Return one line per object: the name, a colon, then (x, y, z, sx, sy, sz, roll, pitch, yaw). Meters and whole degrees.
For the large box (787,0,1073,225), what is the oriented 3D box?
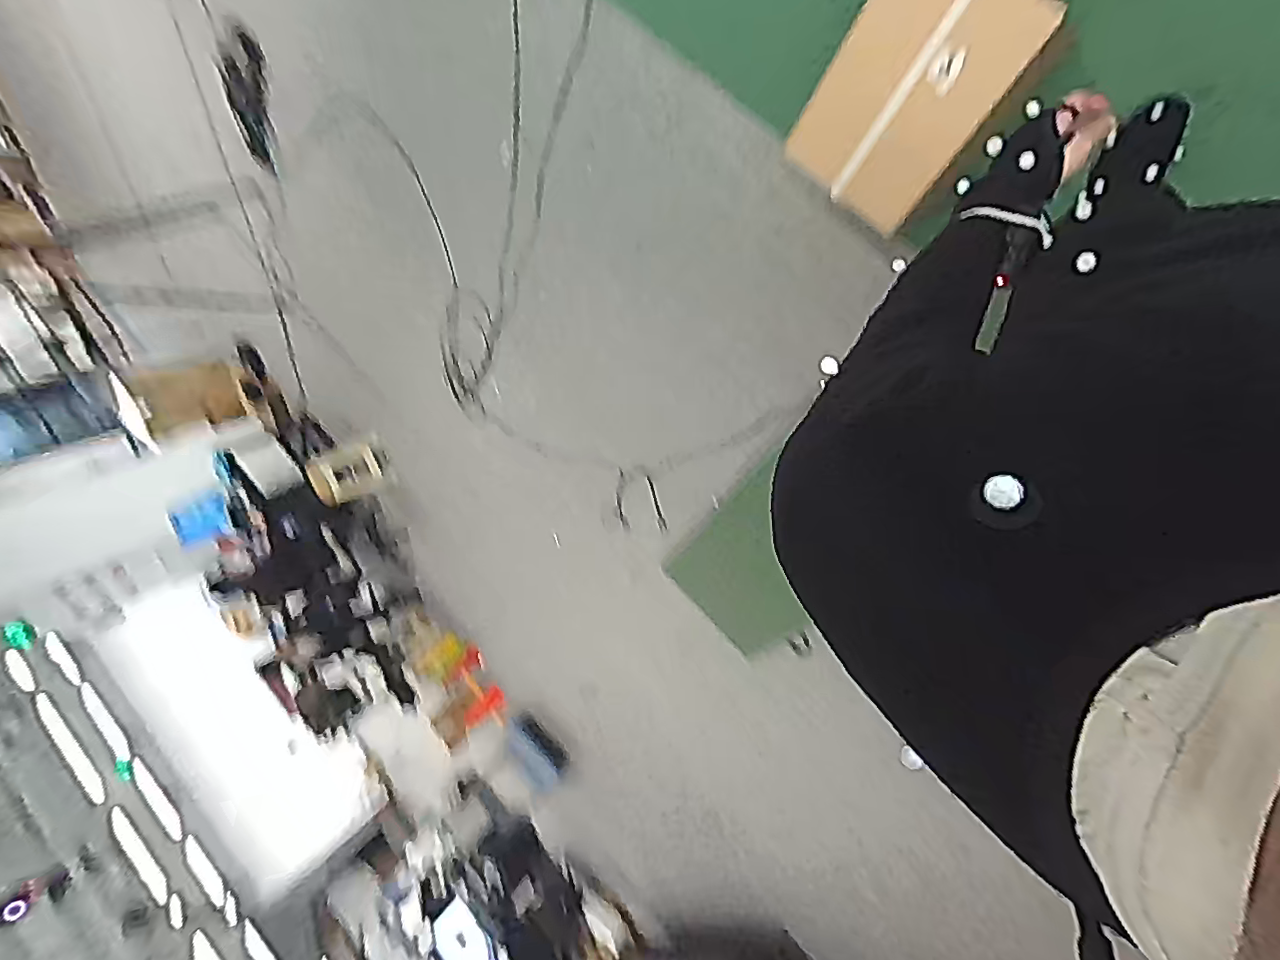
large box: (0.598, -0.821, 1.147, 0.320, 0.320, 0.408, 45, 136, 10)
